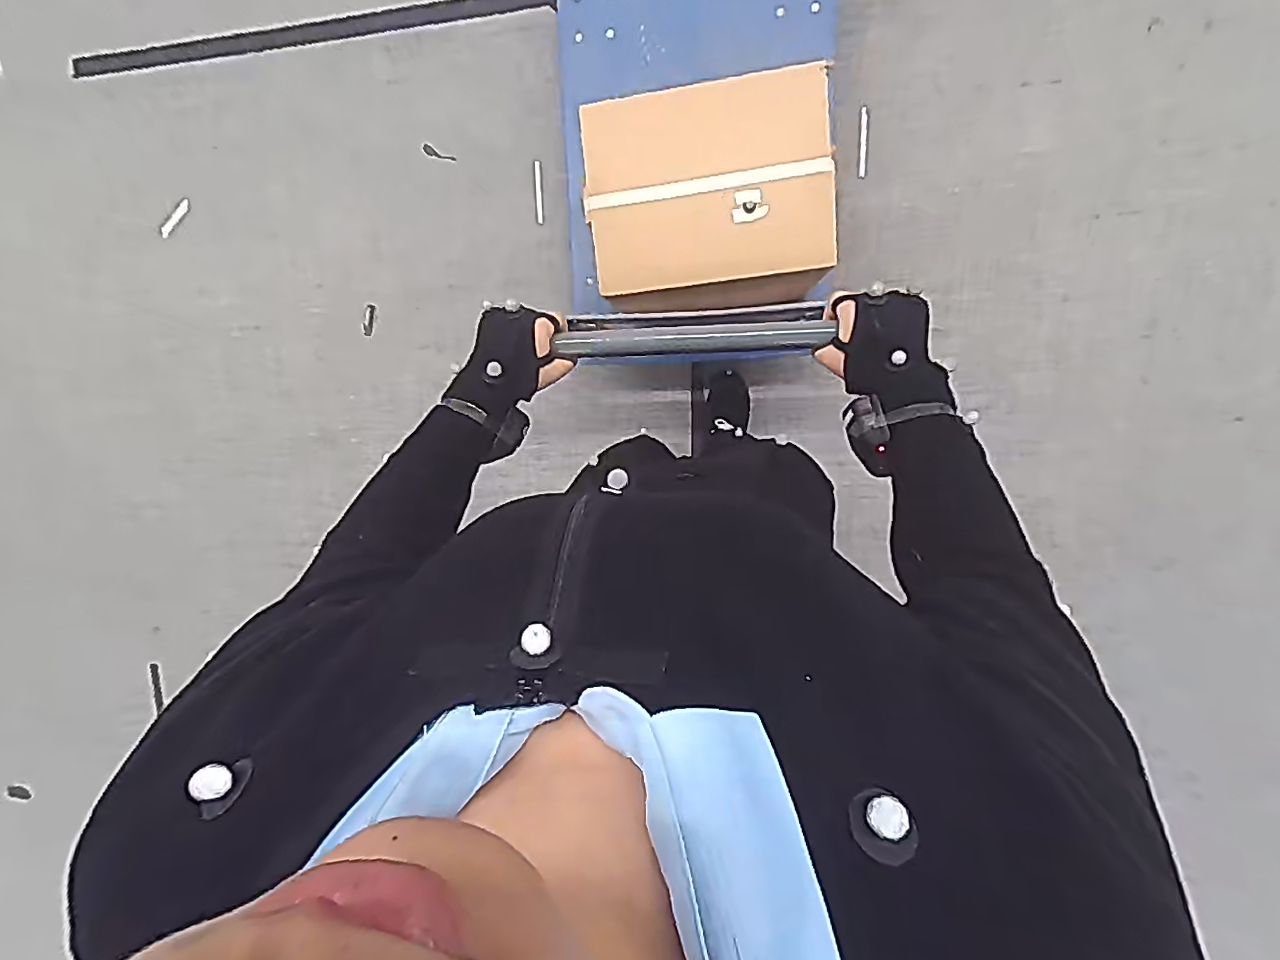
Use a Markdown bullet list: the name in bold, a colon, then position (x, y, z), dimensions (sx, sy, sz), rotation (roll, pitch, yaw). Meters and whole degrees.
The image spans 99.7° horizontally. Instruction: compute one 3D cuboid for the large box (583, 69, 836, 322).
- **large box**: position (0.130, -0.509, 1.055), dimensions (0.408, 0.320, 0.320), rotation (-5, 99, 7)
